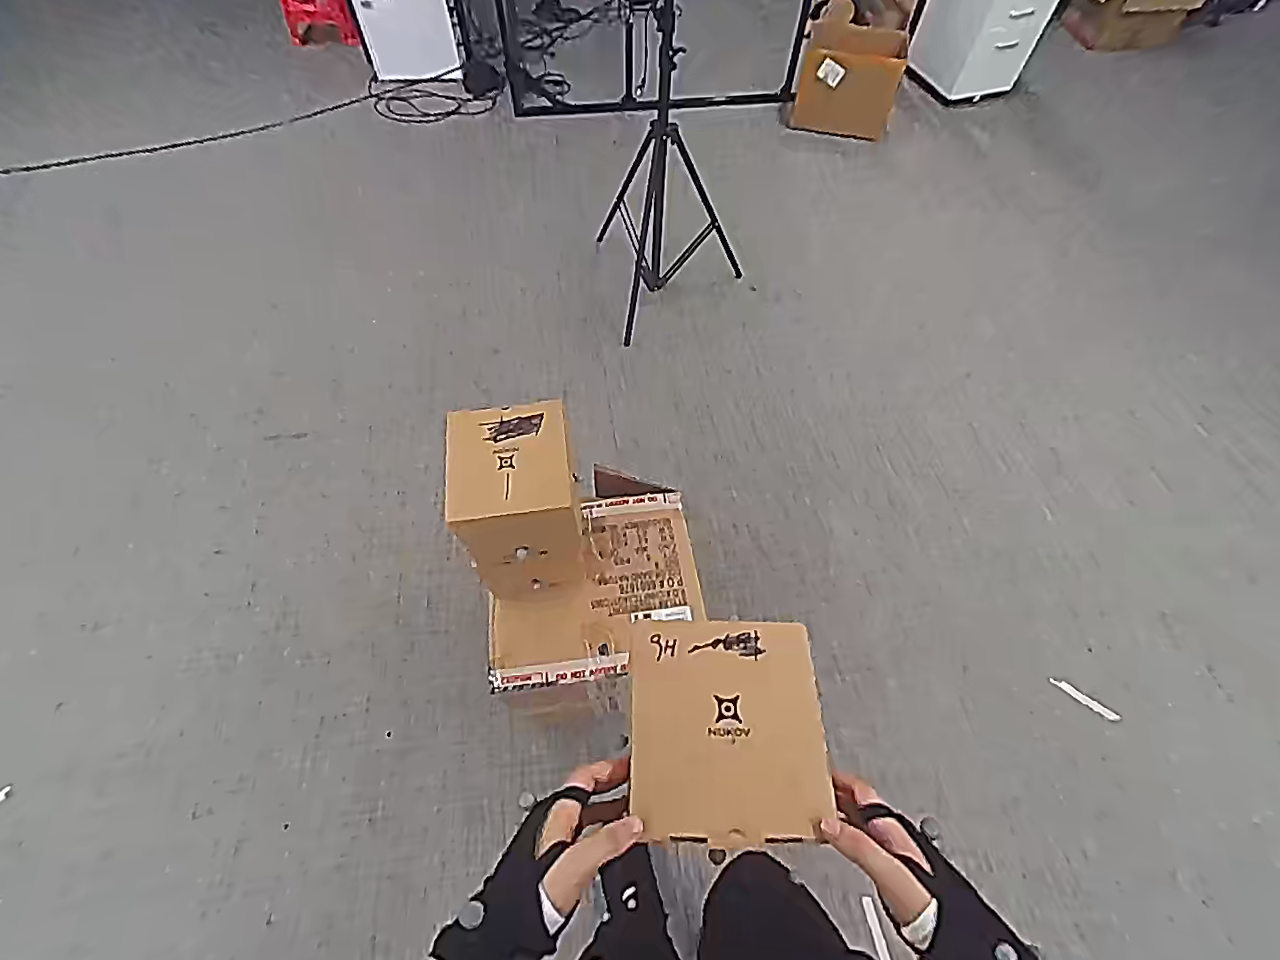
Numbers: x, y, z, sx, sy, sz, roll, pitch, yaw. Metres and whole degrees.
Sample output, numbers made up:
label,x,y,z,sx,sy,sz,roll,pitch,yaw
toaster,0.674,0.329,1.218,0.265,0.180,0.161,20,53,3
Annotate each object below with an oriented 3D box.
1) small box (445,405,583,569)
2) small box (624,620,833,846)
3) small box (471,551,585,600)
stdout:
label,x,y,z,sx,sy,sz,roll,pitch,yaw
small box,-0.179,0.015,0.803,0.168,0.176,0.179,-8,62,-3
small box,0.069,0.250,0.530,0.168,0.176,0.179,1,57,-2
small box,-0.195,0.092,0.948,0.168,0.176,0.179,-11,62,-5
